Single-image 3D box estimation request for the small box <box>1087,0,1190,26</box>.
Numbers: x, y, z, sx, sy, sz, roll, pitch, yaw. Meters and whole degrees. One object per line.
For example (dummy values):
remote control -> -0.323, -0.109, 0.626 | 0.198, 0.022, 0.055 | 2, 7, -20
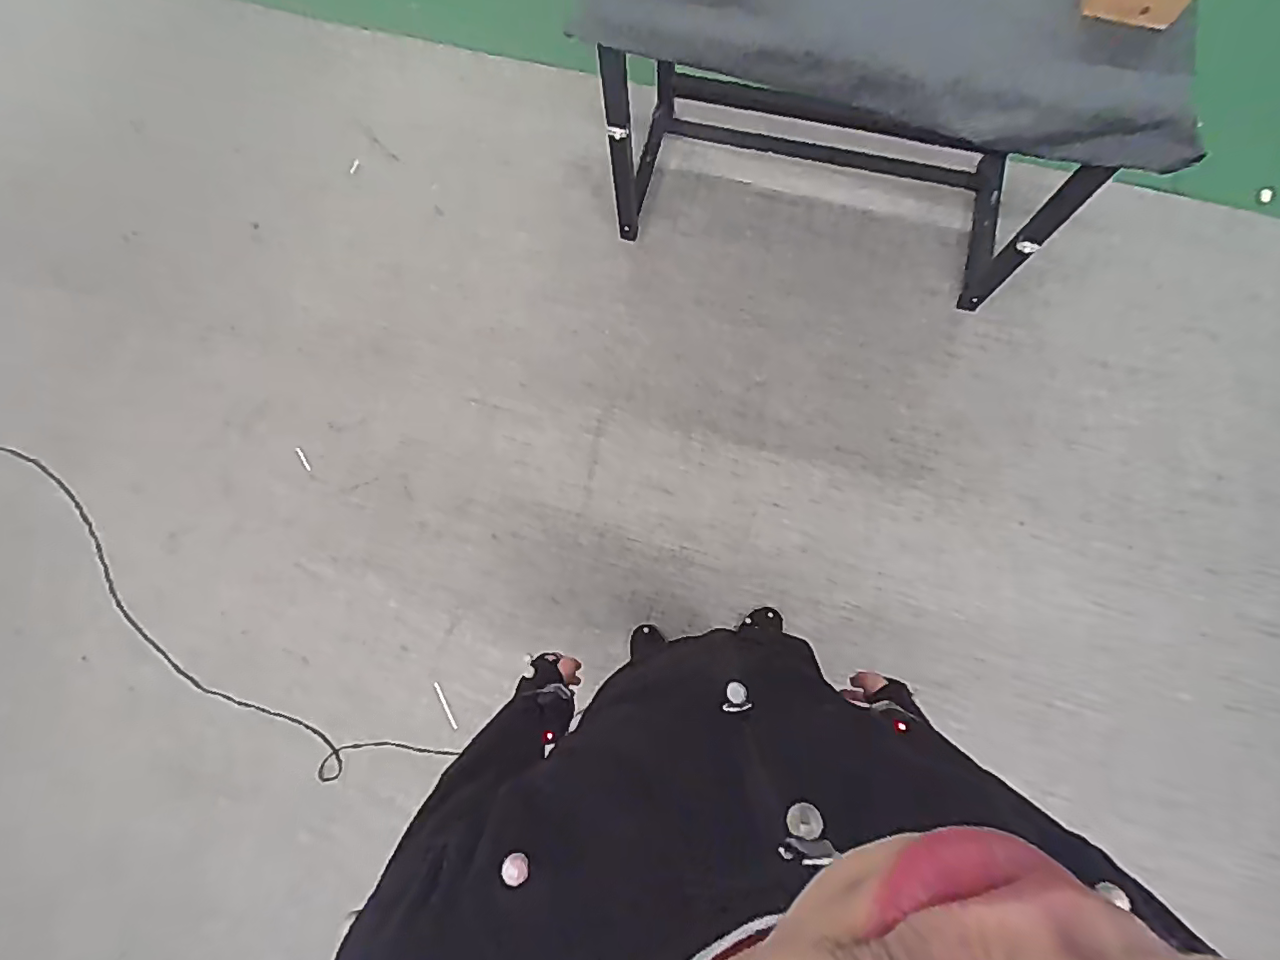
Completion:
small box -> 0.987, -1.007, 1.011 | 0.168, 0.176, 0.179 | 18, 77, 6
